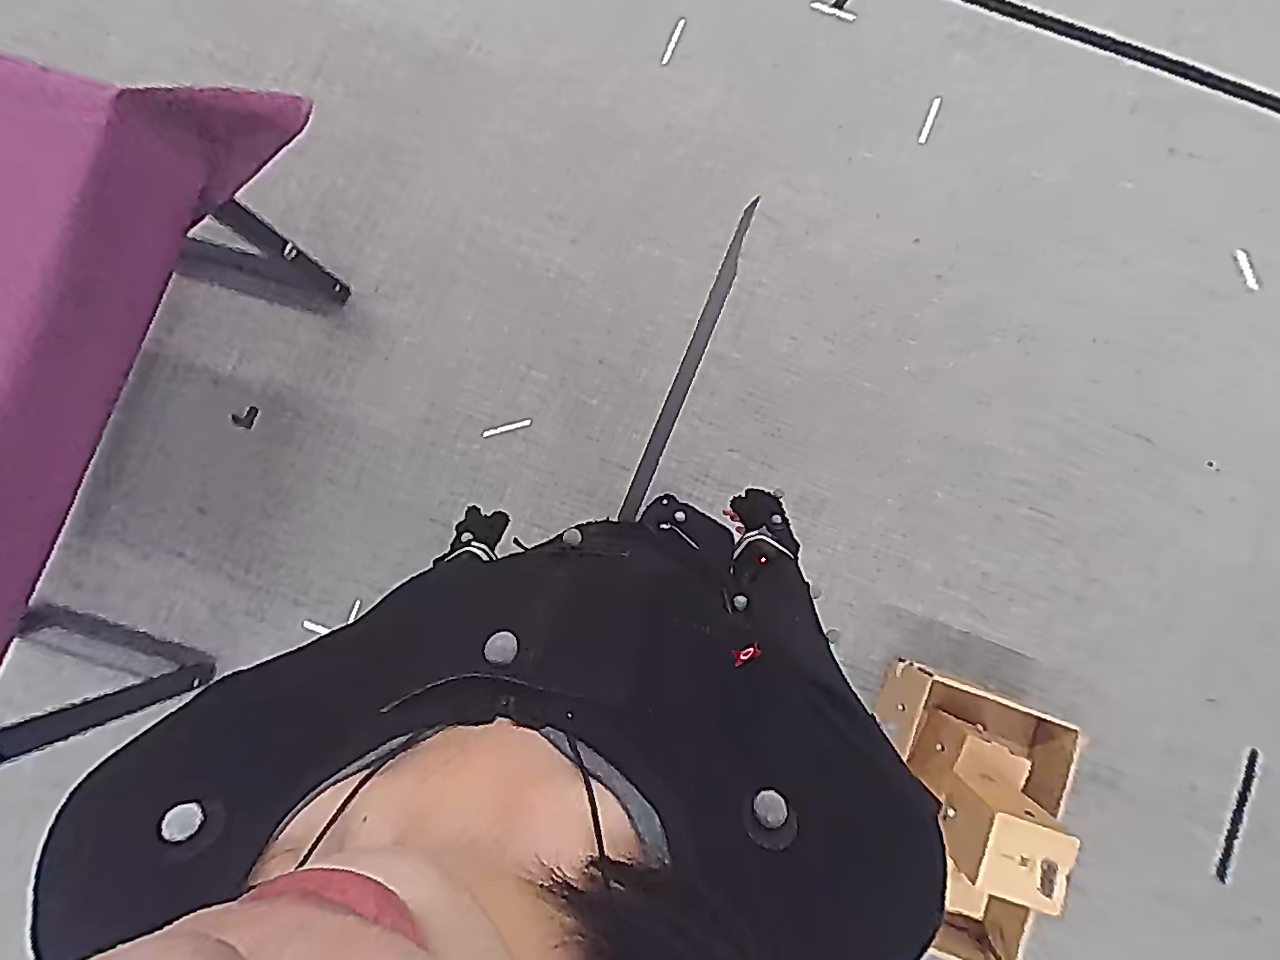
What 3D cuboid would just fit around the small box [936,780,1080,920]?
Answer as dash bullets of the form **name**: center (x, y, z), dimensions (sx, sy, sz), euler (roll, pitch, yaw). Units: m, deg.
- **small box**: center (0.787, 0.788, 1.174), dimensions (0.179, 0.176, 0.168), euler (18, 88, 3)
